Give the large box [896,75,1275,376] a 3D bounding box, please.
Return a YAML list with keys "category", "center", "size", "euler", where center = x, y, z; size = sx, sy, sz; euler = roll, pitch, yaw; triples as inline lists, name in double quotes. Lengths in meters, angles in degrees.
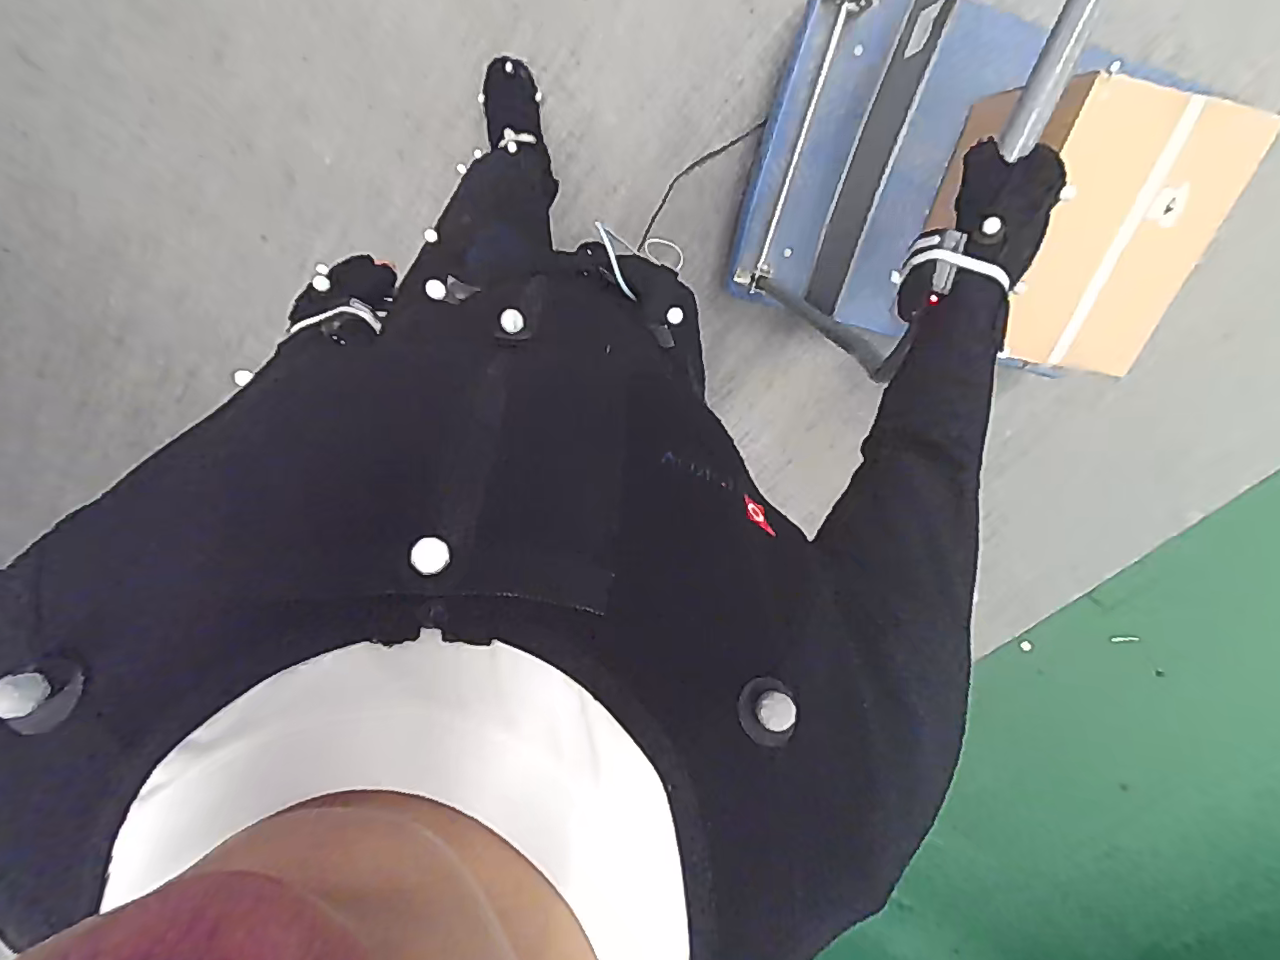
- category: "large box"
  center: [0.747, -0.447, 0.998]
  size: [0.320, 0.320, 0.408]
  euler: [8, 118, -7]
